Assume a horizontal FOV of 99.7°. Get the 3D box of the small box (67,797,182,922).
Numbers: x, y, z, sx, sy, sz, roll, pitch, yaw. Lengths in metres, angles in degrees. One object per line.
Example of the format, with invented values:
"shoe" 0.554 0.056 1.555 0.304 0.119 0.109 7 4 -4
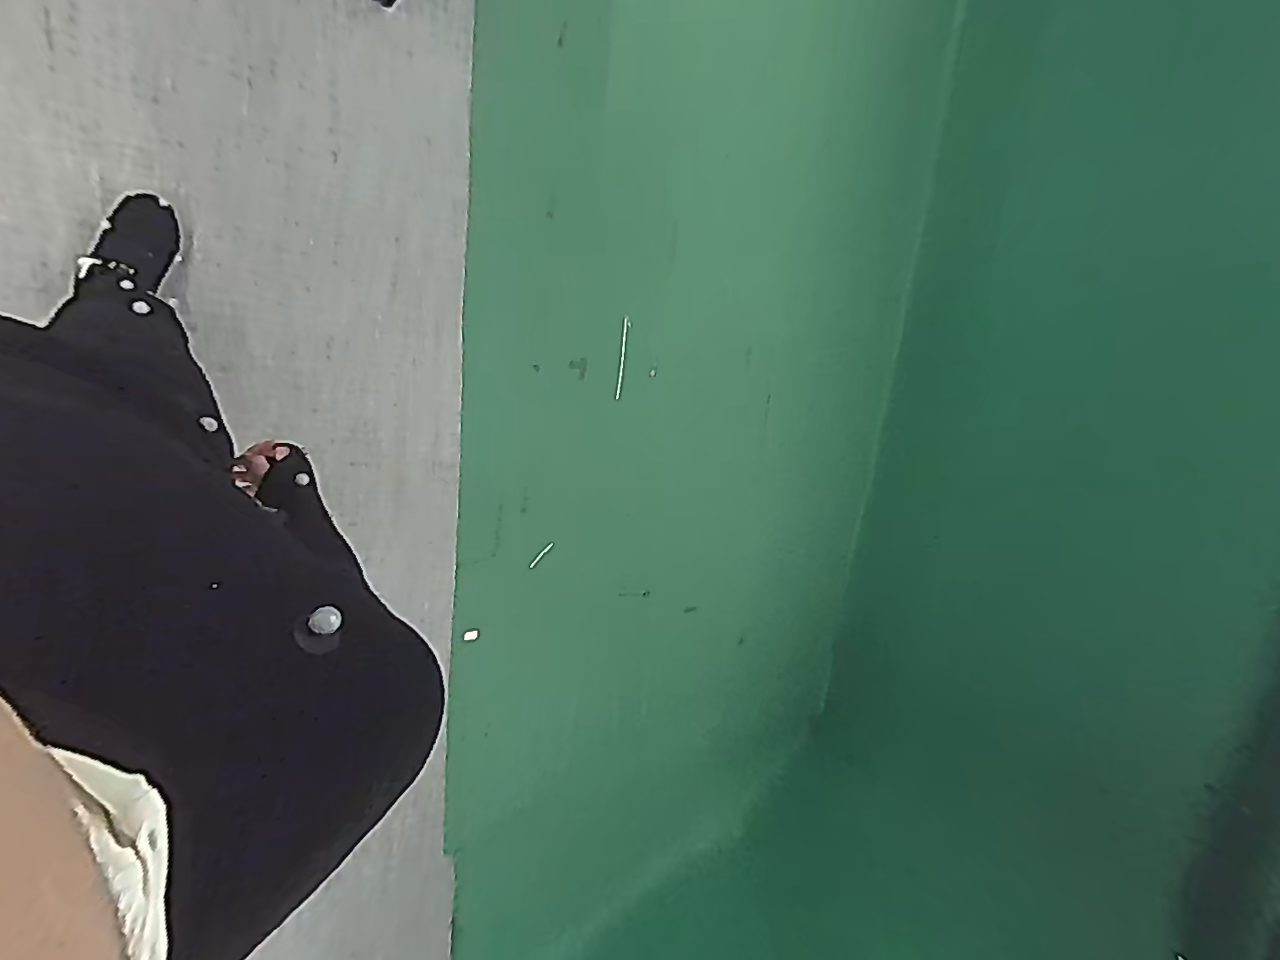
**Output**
"small box" -1.065 0.811 1.122 0.168 0.176 0.179 1 103 -44
